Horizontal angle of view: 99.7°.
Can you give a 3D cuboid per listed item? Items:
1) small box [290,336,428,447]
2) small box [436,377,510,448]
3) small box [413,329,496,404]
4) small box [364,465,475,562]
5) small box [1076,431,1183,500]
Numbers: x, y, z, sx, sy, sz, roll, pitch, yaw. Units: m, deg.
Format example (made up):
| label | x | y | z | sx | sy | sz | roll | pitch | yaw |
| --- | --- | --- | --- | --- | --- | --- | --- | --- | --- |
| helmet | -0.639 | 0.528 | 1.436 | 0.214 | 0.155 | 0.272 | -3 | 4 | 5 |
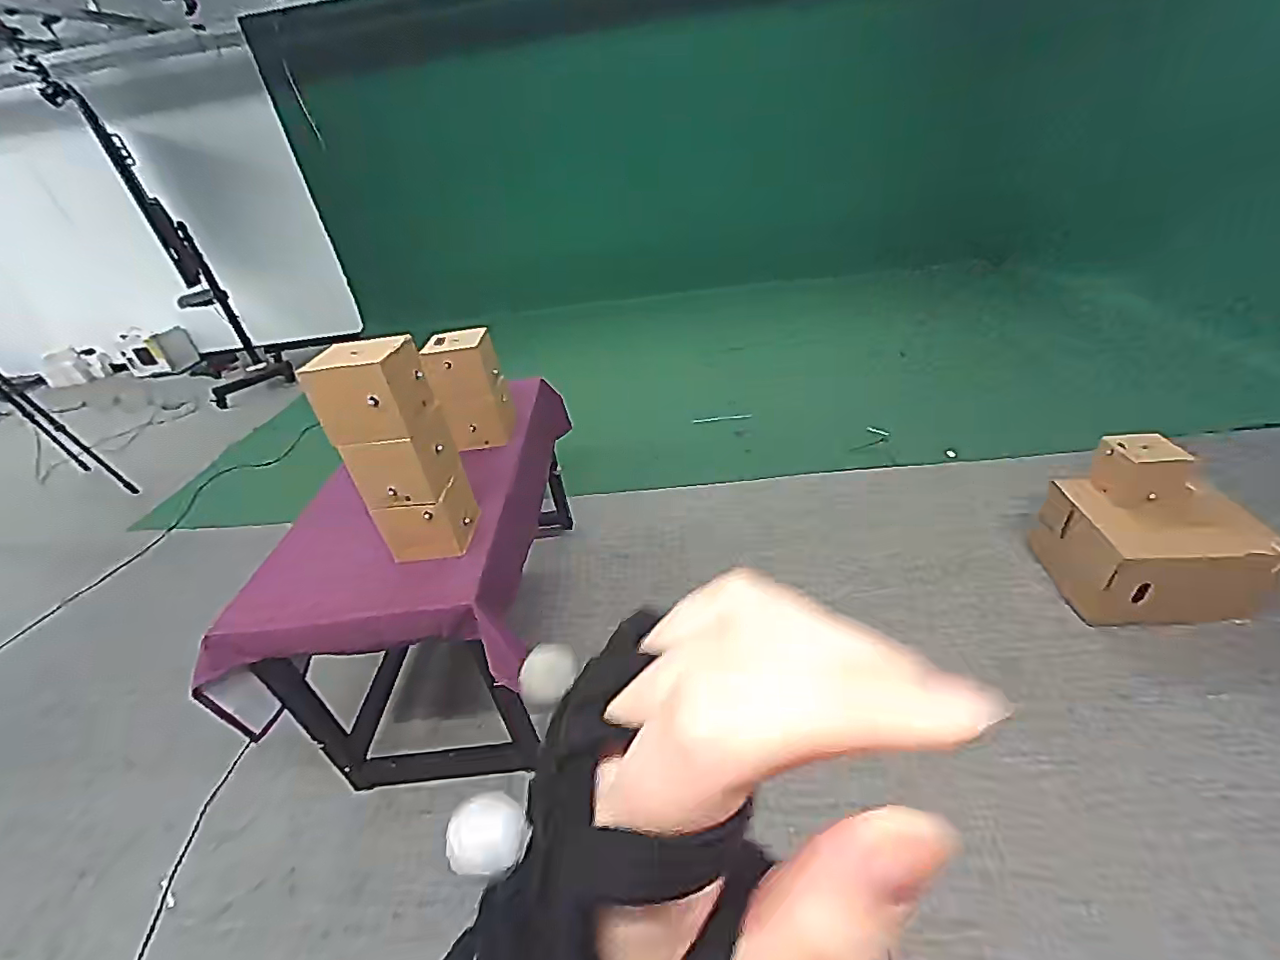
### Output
| label | x | y | z | sx | sy | sz | roll | pitch | yaw |
| --- | --- | --- | --- | --- | --- | --- | --- | --- | --- |
| small box | -0.574 | -0.186 | 1.138 | 0.179 | 0.176 | 0.168 | -6 | 33 | 5 |
| small box | -0.531 | -0.212 | 1.747 | 0.168 | 0.176 | 0.179 | -6 | 34 | 4 |
| small box | -0.560 | -0.345 | 1.655 | 0.179 | 0.176 | 0.168 | -7 | 35 | 1 |
| small box | -0.527 | 0.084 | 1.318 | 0.179 | 0.176 | 0.168 | -6 | 34 | 3 |
| small box | 1.593 | -0.046 | 1.773 | 0.179 | 0.176 | 0.168 | -2 | 33 | 6 |
